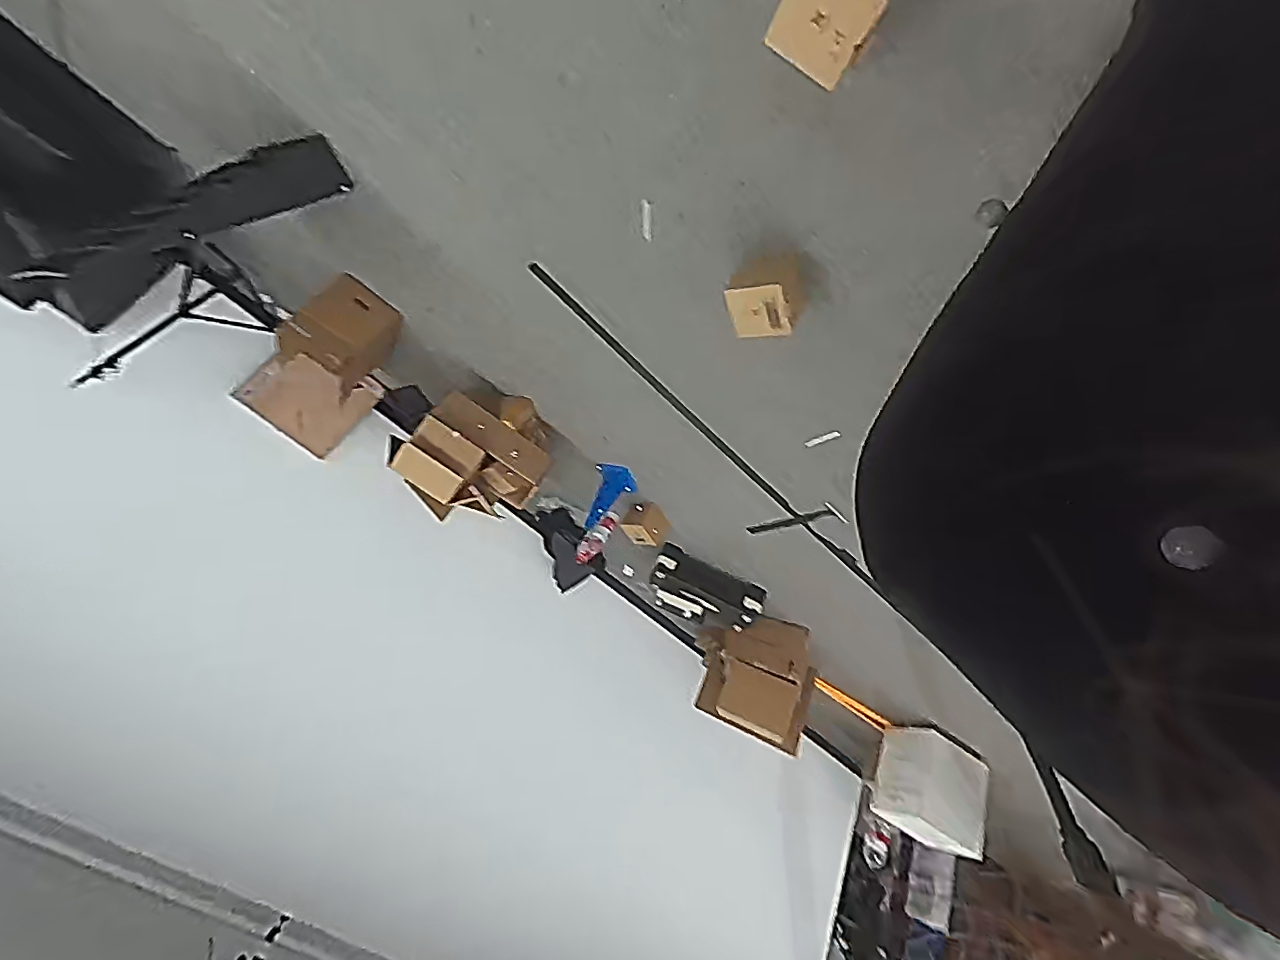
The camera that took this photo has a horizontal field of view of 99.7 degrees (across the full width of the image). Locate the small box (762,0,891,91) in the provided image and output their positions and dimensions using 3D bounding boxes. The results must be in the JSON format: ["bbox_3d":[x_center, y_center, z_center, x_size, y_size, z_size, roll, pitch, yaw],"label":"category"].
[{"bbox_3d":[0.377,-0.929,1.069,0.179,0.176,0.168,33,149,-5],"label":"small box"}]
